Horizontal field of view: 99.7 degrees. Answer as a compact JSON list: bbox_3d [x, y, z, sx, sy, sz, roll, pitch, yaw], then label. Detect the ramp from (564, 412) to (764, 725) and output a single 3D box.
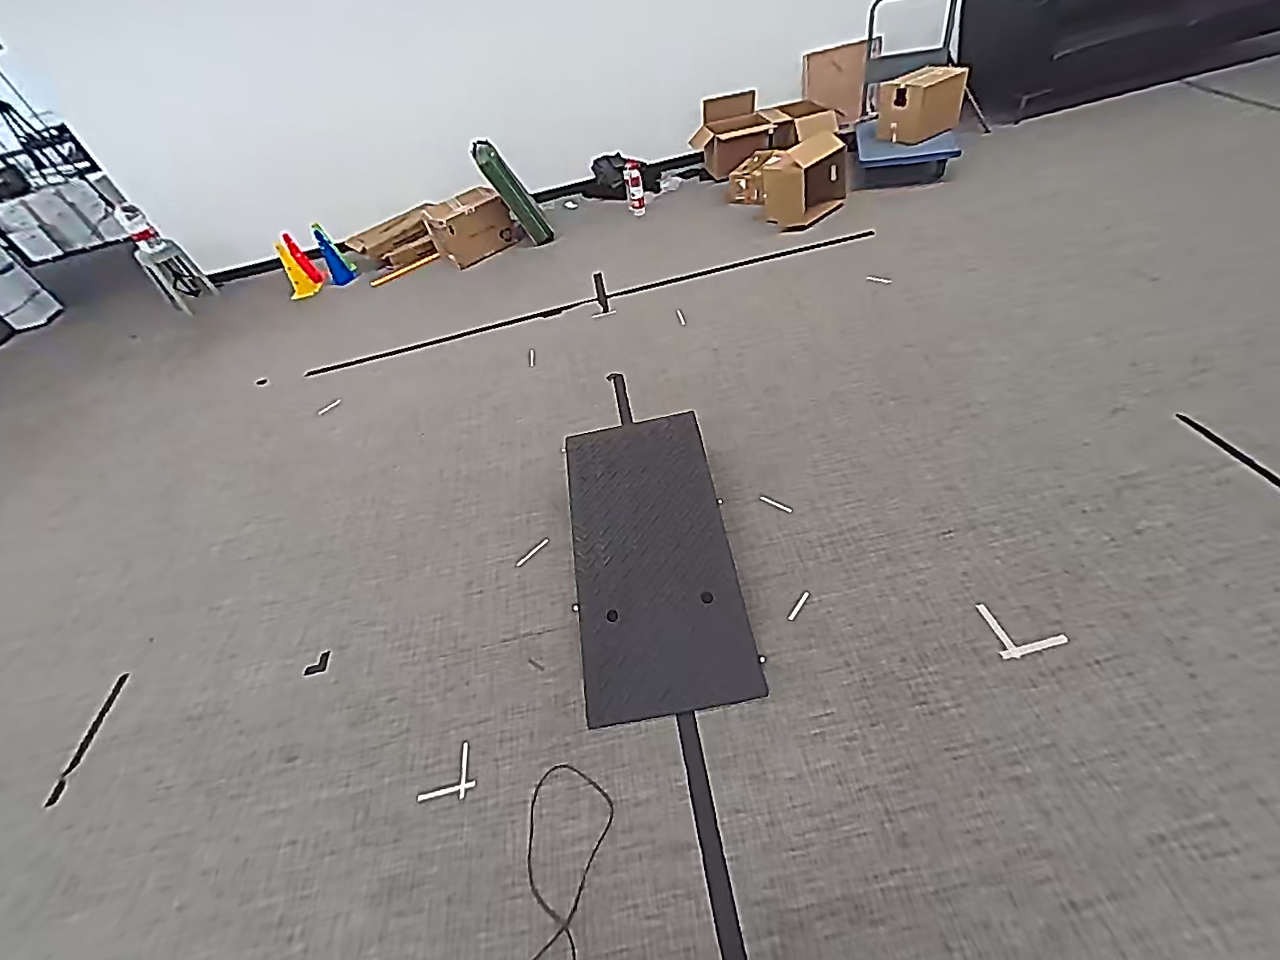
[{"bbox_3d":[0.029,0.206,1.717,0.509,0.206,0.991,-12,46,1],"label":"ramp"}]
